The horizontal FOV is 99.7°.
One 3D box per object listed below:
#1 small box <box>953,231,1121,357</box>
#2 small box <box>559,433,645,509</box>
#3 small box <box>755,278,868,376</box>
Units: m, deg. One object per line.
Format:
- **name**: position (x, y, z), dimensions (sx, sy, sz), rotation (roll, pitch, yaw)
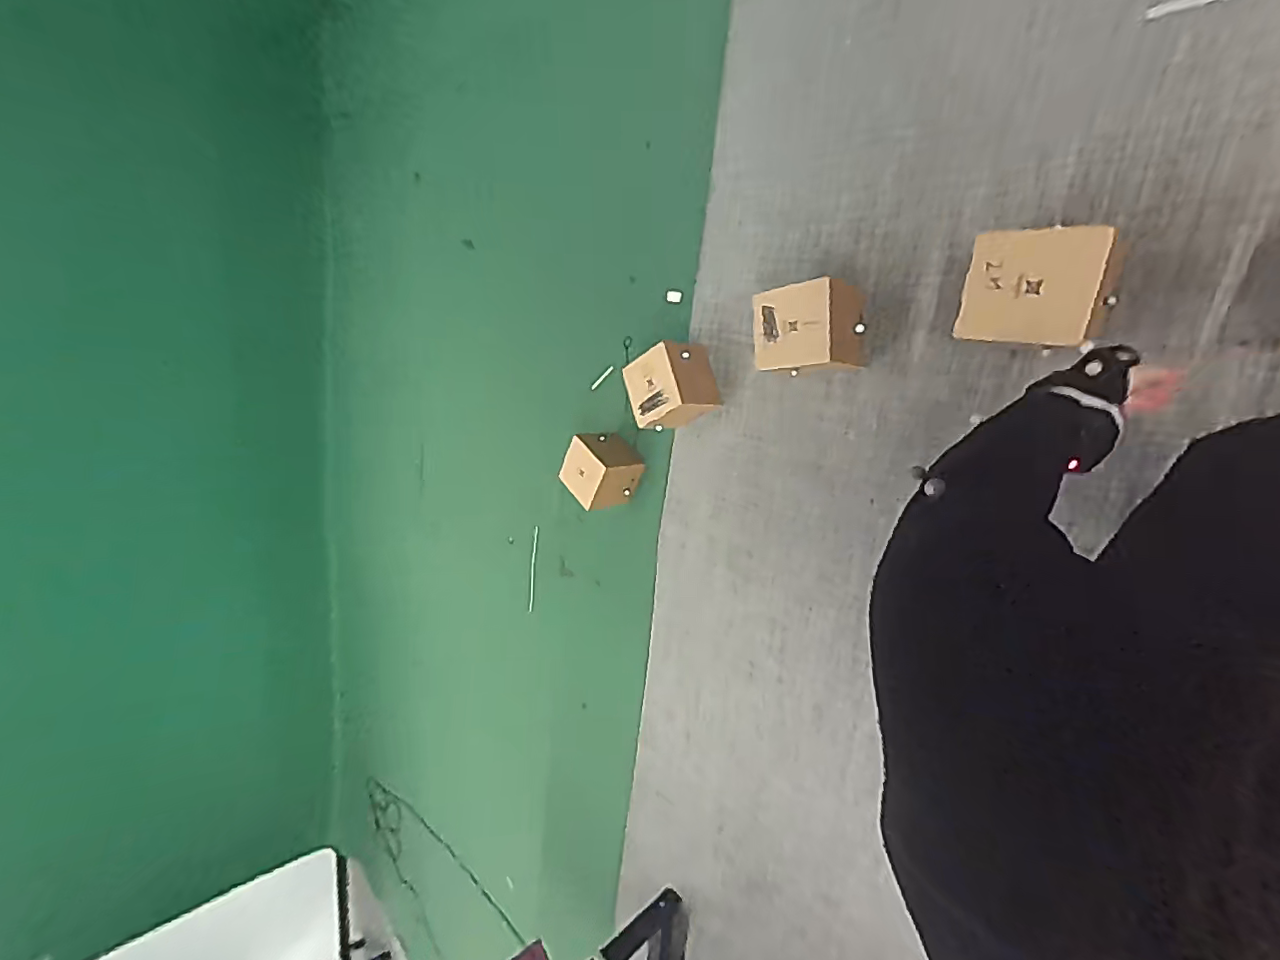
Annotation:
- **small box**: position (0.650, -0.297, 0.883), dimensions (0.179, 0.176, 0.168), rotation (20, 107, 42)
- **small box**: position (-0.117, -0.030, 1.683), dimensions (0.179, 0.176, 0.168), rotation (47, 124, 32)
- **small box**: position (0.368, -0.318, 1.163), dimensions (0.179, 0.176, 0.168), rotation (3, 96, 44)
